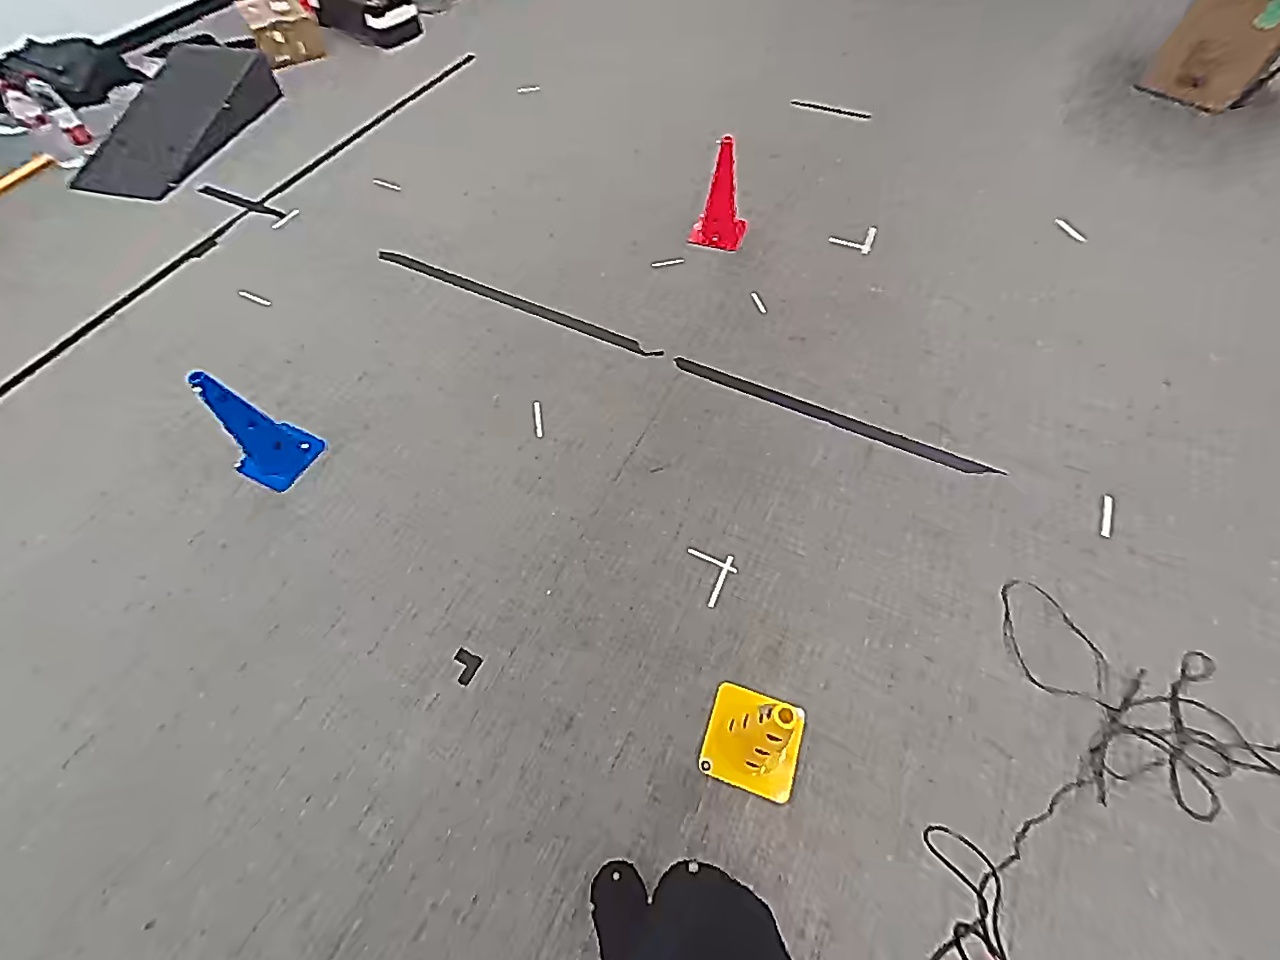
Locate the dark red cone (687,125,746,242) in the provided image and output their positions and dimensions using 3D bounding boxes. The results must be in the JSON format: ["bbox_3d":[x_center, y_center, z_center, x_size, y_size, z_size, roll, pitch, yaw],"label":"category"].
[{"bbox_3d":[0.300,-1.095,1.992,0.202,0.394,0.201,16,61,11],"label":"dark red cone"}]

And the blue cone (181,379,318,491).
[{"bbox_3d":[-1.097,-0.149,1.488,0.193,0.380,0.192,23,63,15],"label":"blue cone"}]
